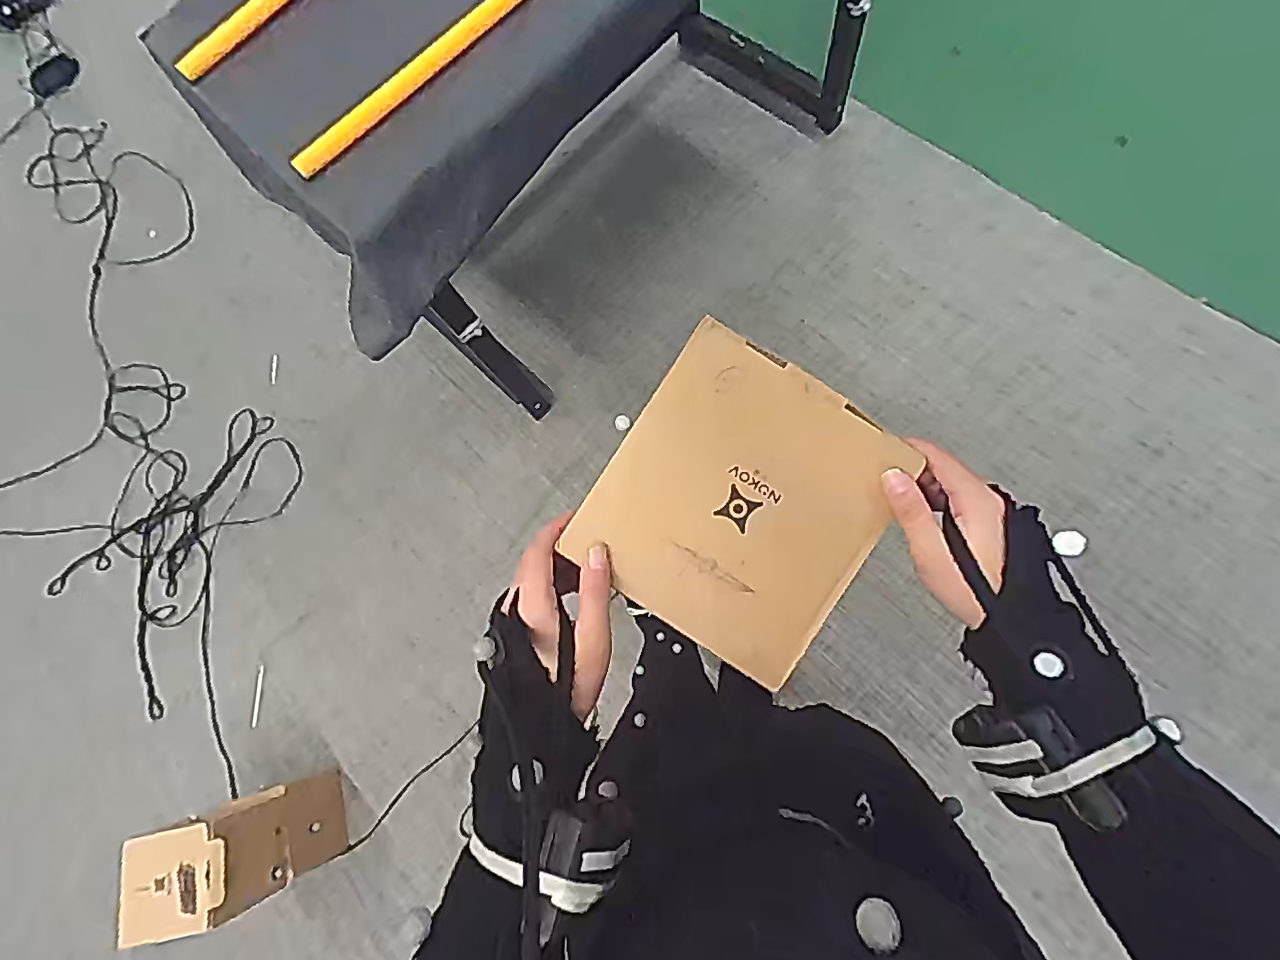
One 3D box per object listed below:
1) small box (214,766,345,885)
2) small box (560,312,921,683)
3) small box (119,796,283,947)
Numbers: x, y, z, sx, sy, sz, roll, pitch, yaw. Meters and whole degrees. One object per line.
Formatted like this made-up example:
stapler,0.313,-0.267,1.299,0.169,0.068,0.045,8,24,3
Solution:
small box,-0.760,0.742,1.153,0.168,0.176,0.179,-19,73,3
small box,0.062,0.011,0.412,0.168,0.176,0.179,33,90,2
small box,-0.793,0.706,0.995,0.179,0.176,0.168,-15,73,5
